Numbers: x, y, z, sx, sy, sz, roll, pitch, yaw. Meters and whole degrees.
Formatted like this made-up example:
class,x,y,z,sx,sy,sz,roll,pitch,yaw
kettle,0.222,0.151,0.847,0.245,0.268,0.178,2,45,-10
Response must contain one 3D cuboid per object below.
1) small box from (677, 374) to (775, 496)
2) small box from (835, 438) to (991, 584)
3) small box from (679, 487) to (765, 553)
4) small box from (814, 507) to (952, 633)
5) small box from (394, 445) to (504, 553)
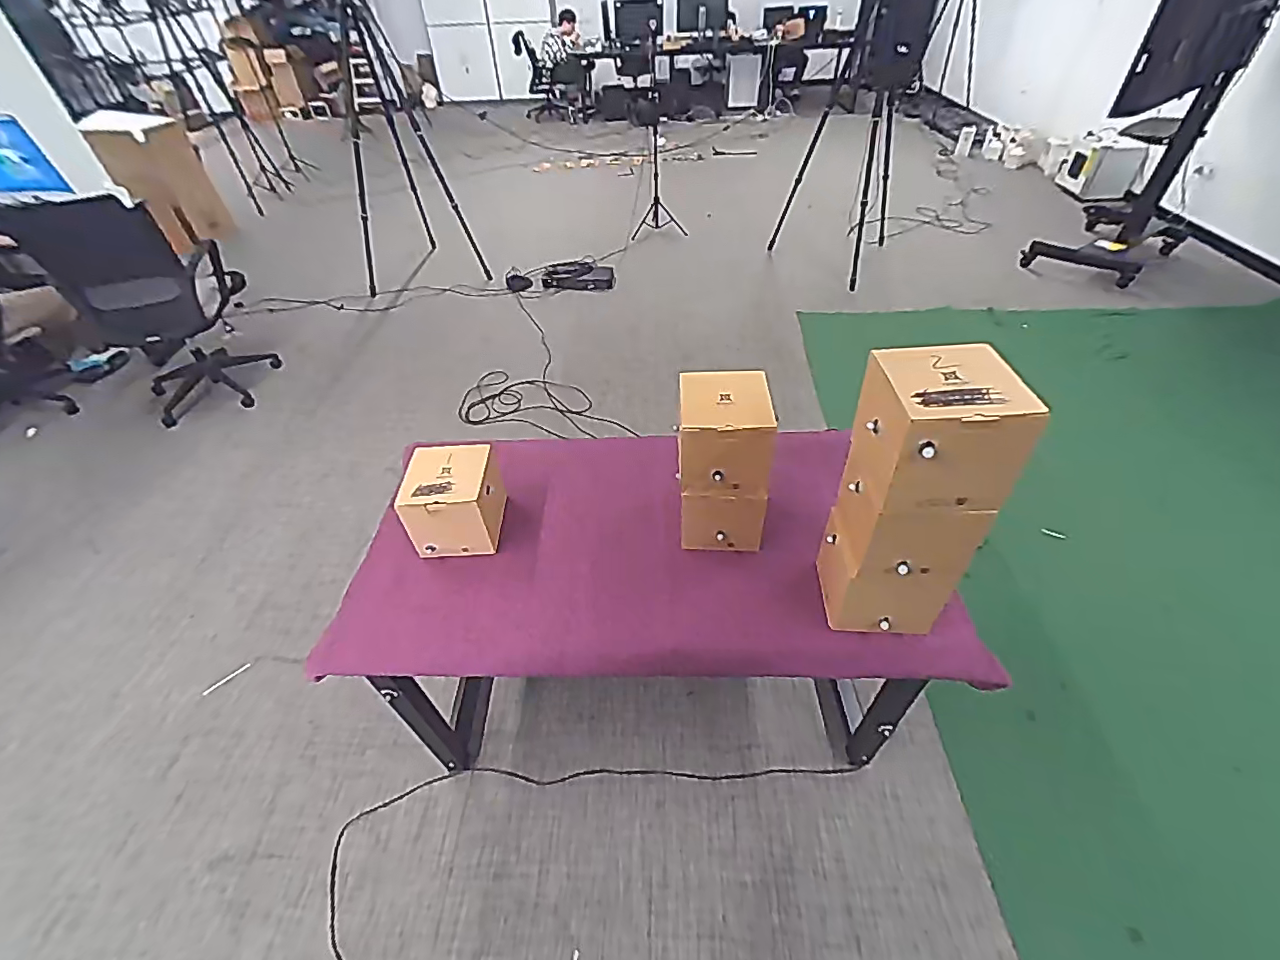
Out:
class,x,y,z,sx,sy,sz,roll,pitch,yaw
small box,0.157,-0.087,1.046,0.168,0.176,0.179,0,45,2
small box,0.430,0.049,0.891,0.168,0.176,0.179,0,43,6
small box,0.169,0.033,1.156,0.168,0.176,0.179,2,45,5
small box,0.435,0.169,1.001,0.179,0.176,0.168,2,43,5
small box,-0.400,0.046,1.169,0.168,0.176,0.179,-3,44,-1
